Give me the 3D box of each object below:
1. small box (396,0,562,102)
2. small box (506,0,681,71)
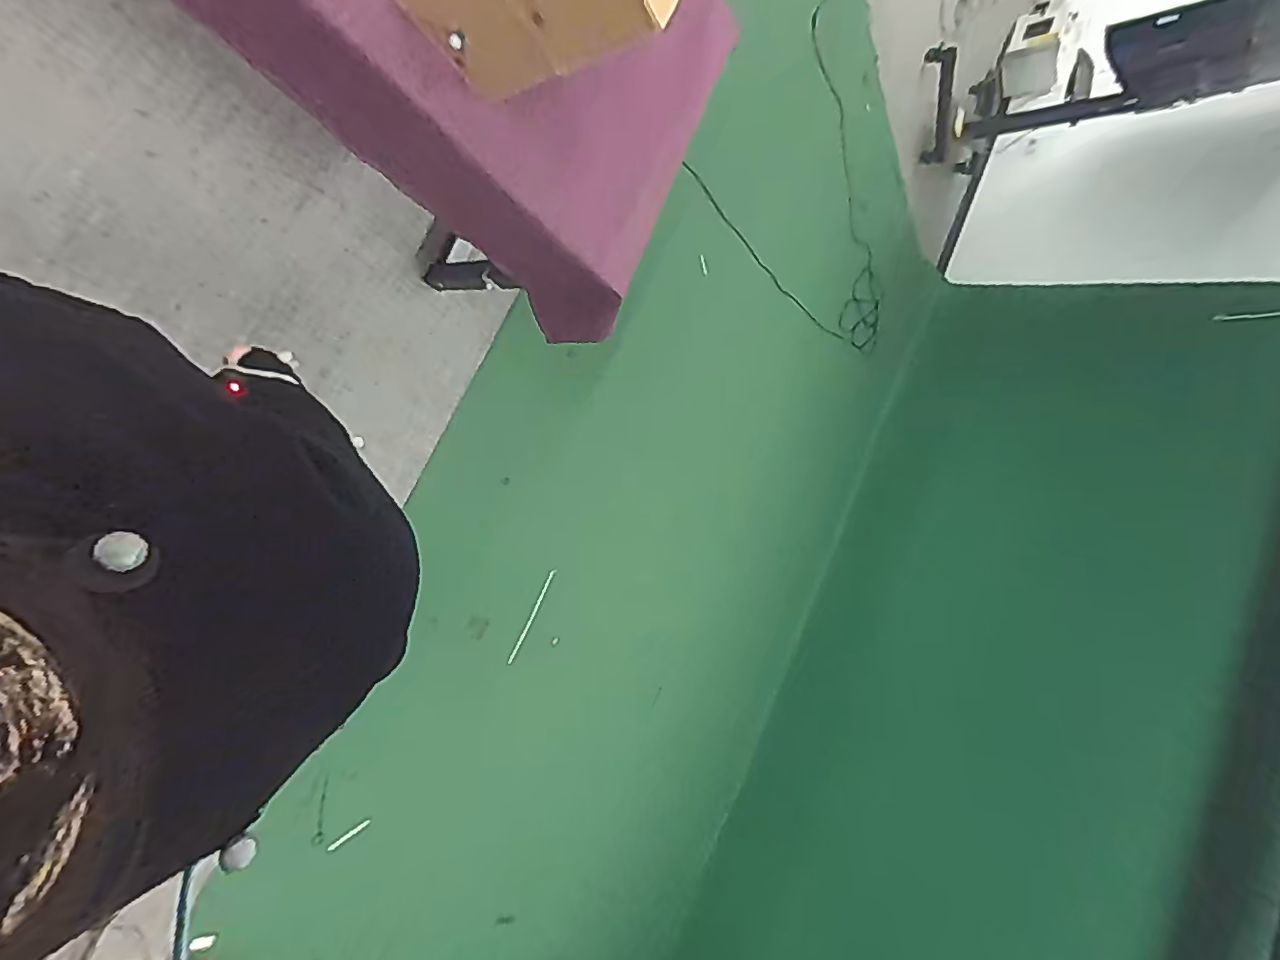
[{"bbox_3d":[-0.167,-0.617,0.664,0.168,0.176,0.179,33,78,-47],"label":"small box"},{"bbox_3d":[-0.047,-0.580,0.560,0.168,0.176,0.179,33,79,-48],"label":"small box"}]
